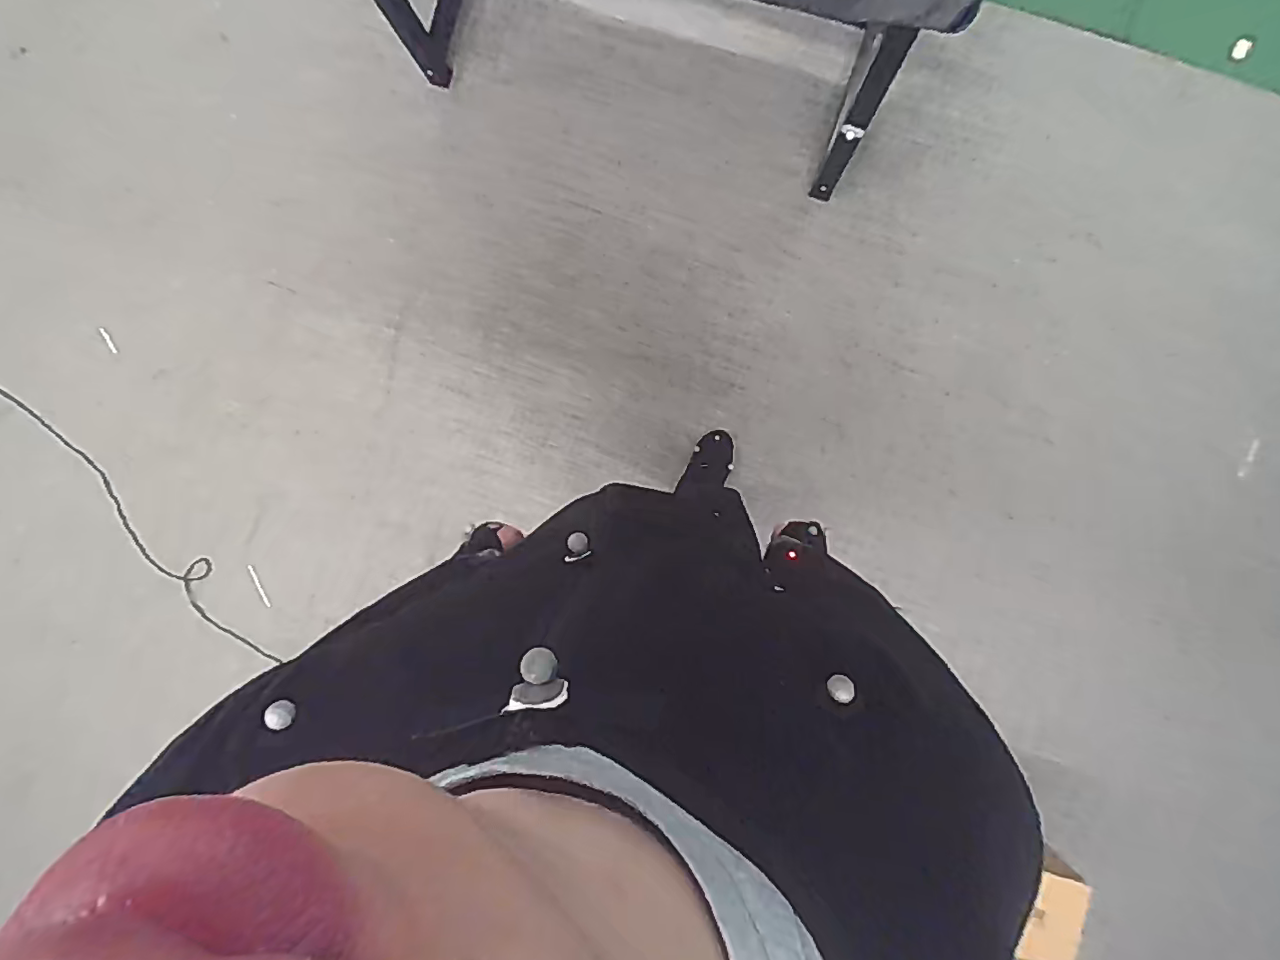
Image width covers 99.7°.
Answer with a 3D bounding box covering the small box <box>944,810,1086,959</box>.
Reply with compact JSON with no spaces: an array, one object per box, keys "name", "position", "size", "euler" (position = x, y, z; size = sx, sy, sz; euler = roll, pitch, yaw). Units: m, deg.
[{"name":"small box","position":[0.773,0.845,1.135],"size":[0.168,0.176,0.179],"euler":[14,89,3]}]
